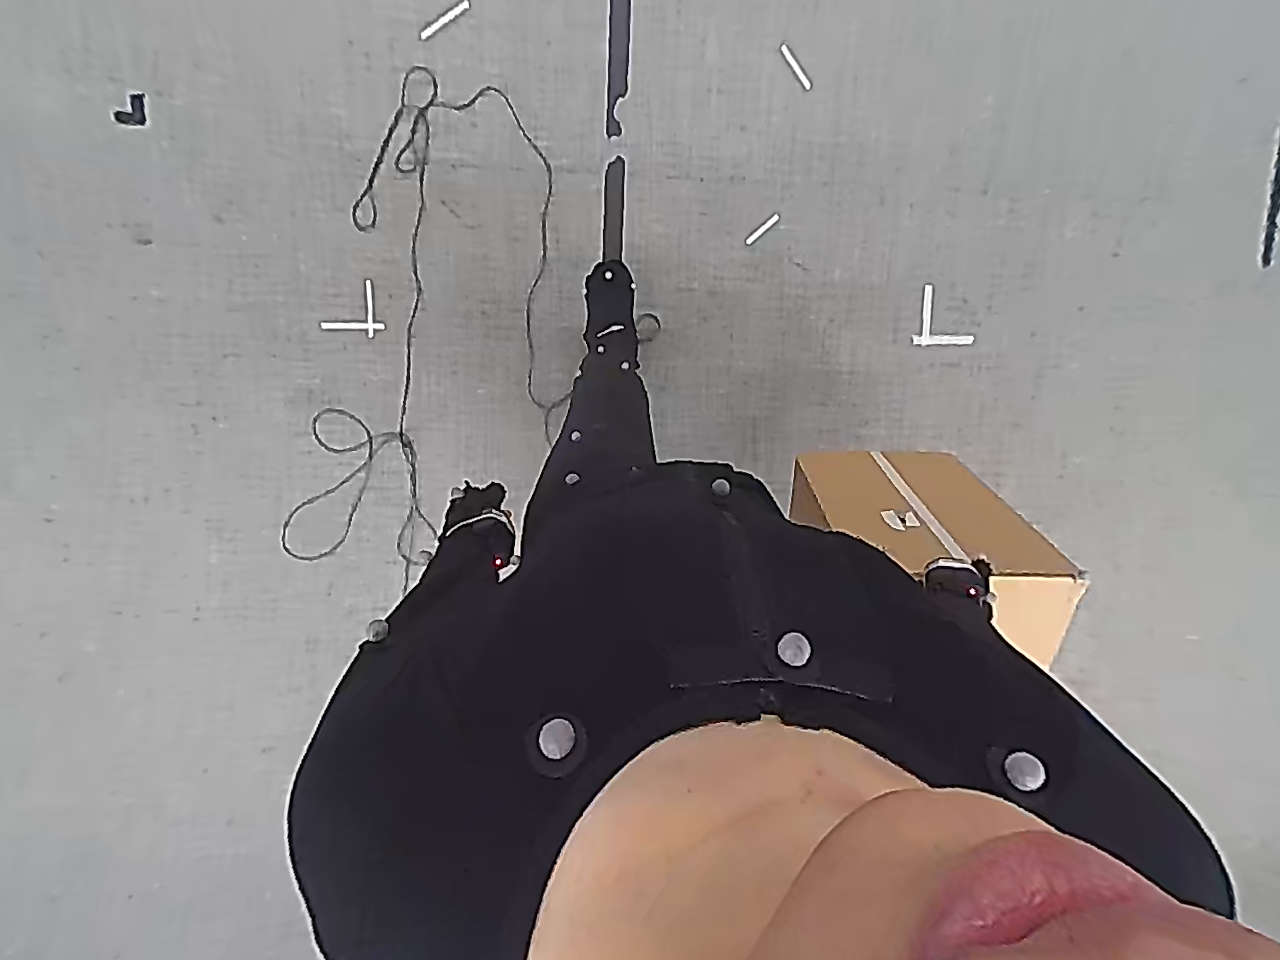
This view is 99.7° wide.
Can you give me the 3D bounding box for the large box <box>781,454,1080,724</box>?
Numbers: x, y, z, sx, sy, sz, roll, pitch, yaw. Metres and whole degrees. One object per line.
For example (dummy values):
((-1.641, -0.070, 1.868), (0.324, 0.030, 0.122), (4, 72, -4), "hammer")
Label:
((0.468, 0.177, 0.998), (0.320, 0.408, 0.320), (-1, 118, 3), "large box")
